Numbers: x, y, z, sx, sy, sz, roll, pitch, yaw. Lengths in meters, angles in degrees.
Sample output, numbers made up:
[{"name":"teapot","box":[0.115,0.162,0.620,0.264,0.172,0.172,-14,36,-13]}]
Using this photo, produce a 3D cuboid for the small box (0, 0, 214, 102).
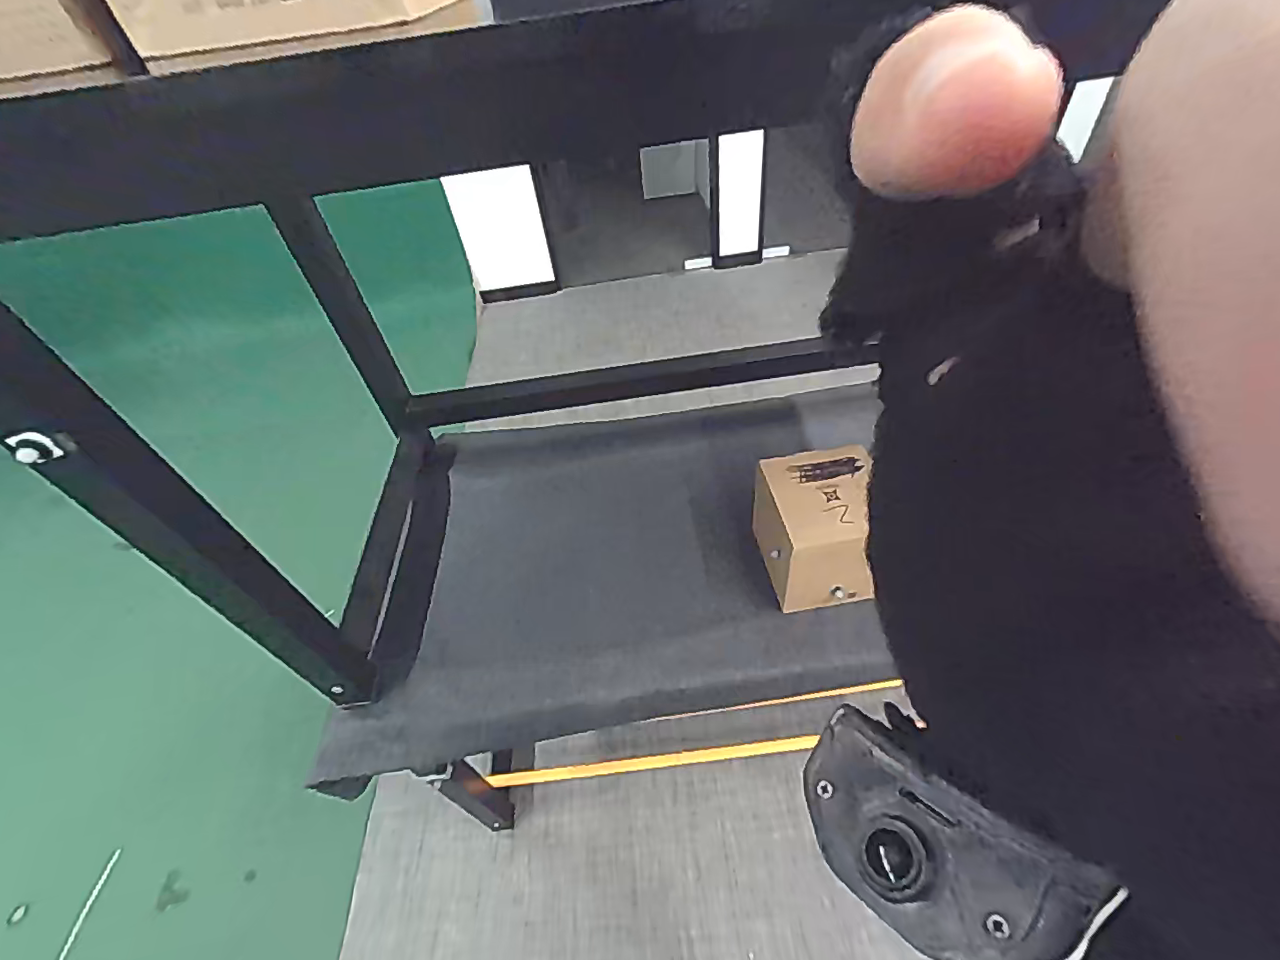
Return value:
[{"name":"small box","box":[-0.405,-0.337,0.317,0.168,0.176,0.179,-9,47,-1]}]
